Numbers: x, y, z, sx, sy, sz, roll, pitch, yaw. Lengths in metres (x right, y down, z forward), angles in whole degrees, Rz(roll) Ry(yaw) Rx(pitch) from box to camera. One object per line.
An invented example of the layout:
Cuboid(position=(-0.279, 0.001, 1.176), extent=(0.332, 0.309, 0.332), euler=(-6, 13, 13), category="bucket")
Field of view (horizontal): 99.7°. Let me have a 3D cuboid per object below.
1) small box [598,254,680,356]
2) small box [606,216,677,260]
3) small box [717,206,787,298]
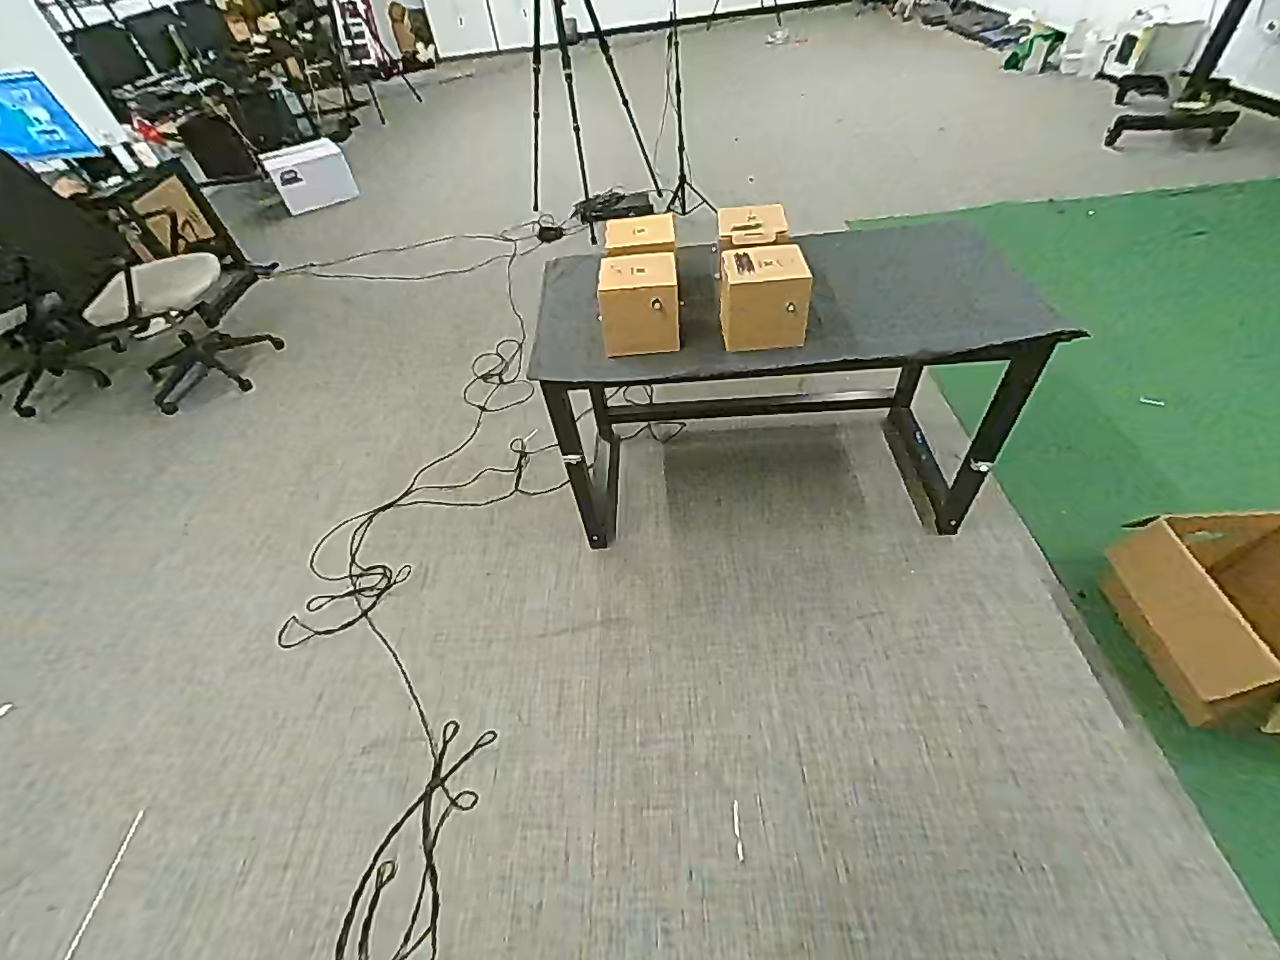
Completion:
Cuboid(position=(0.004, -0.409, 1.275), extent=(0.179, 0.176, 0.168), euler=(-4, 46, 4), category="small box")
Cuboid(position=(0.010, -0.571, 1.429), extent=(0.179, 0.176, 0.168), euler=(-5, 47, 4), category="small box")
Cuboid(position=(0.285, -0.583, 1.398), extent=(0.168, 0.176, 0.179), euler=(-1, 47, 7), category="small box")
